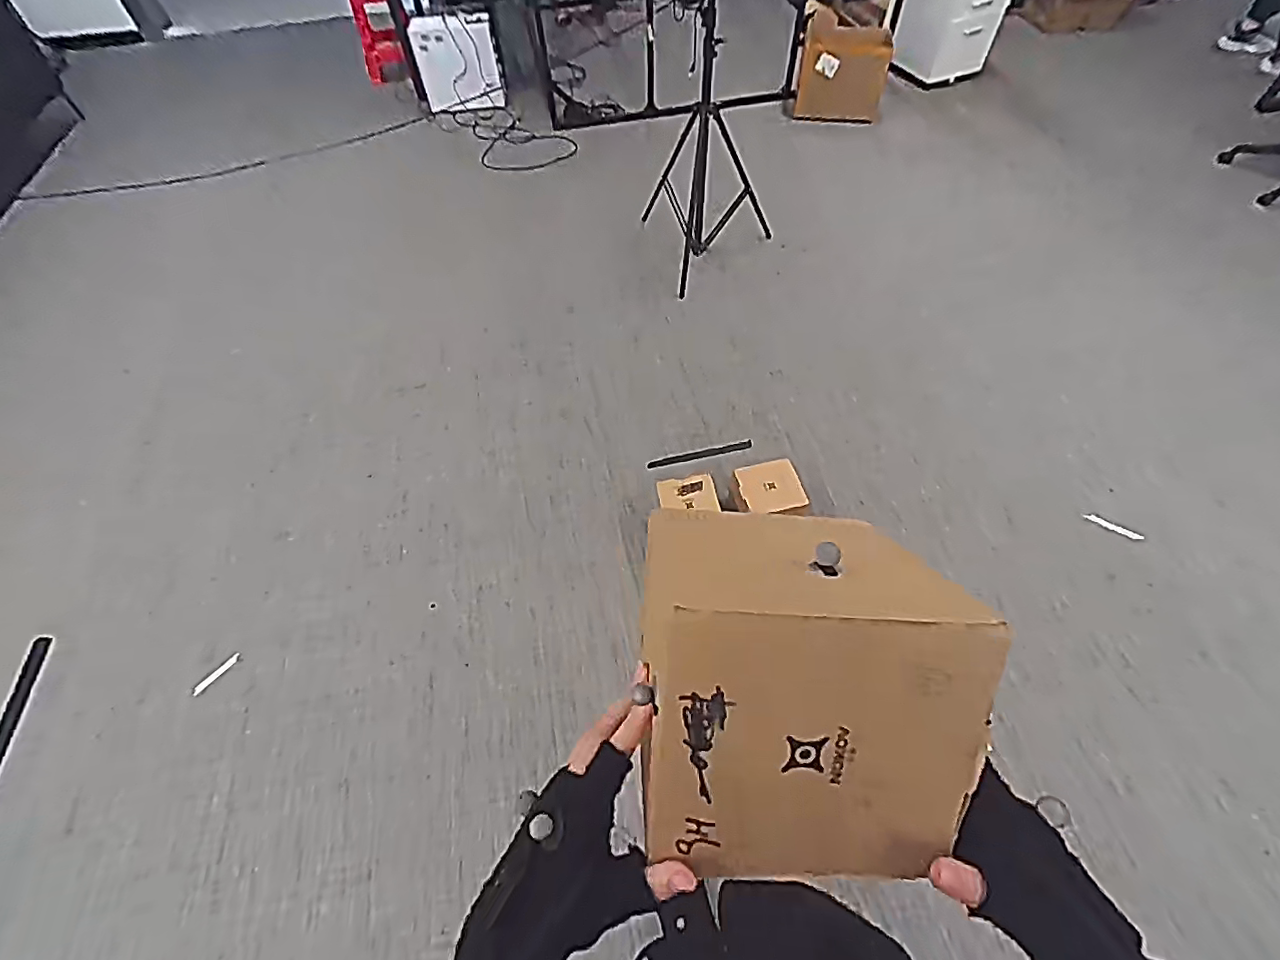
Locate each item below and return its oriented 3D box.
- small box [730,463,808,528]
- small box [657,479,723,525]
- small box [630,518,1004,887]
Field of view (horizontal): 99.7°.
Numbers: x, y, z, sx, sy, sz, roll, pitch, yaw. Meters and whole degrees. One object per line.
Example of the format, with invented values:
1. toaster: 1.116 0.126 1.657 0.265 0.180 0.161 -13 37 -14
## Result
1. small box: 0.378 0.075 1.622 0.179 0.176 0.168 -12 58 -6
2. small box: 0.144 0.123 1.599 0.168 0.176 0.179 -10 57 -3
3. small box: 0.089 0.130 0.365 0.179 0.168 0.176 4 13 -4
